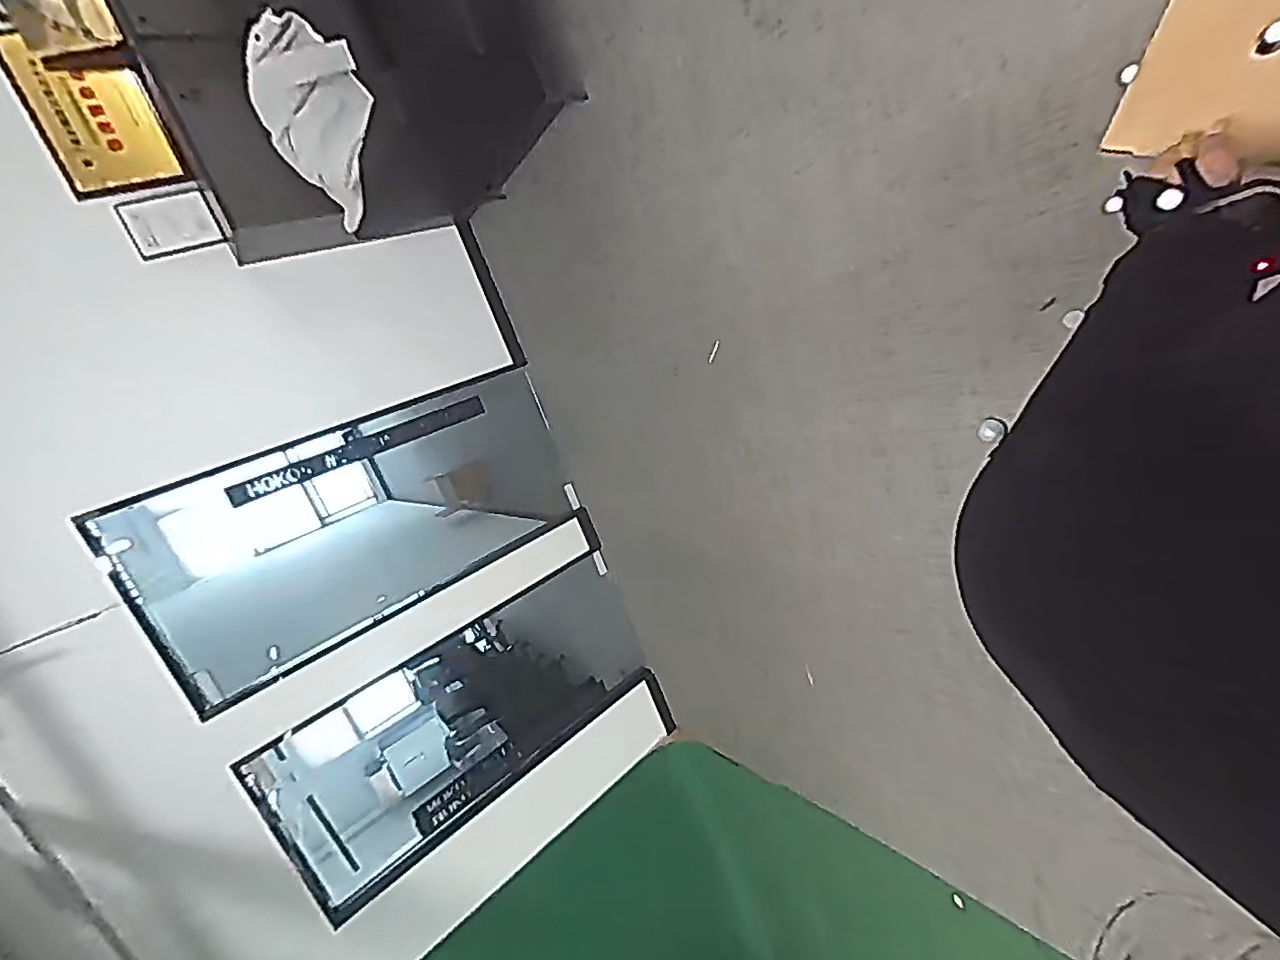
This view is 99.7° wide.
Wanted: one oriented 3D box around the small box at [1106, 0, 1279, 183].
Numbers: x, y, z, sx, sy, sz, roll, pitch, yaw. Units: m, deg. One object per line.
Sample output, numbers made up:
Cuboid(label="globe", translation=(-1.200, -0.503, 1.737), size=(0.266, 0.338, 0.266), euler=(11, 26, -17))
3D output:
Cuboid(label="small box", translation=(0.584, -0.386, 0.509), size=(0.168, 0.179, 0.176), euler=(29, 128, 31))
